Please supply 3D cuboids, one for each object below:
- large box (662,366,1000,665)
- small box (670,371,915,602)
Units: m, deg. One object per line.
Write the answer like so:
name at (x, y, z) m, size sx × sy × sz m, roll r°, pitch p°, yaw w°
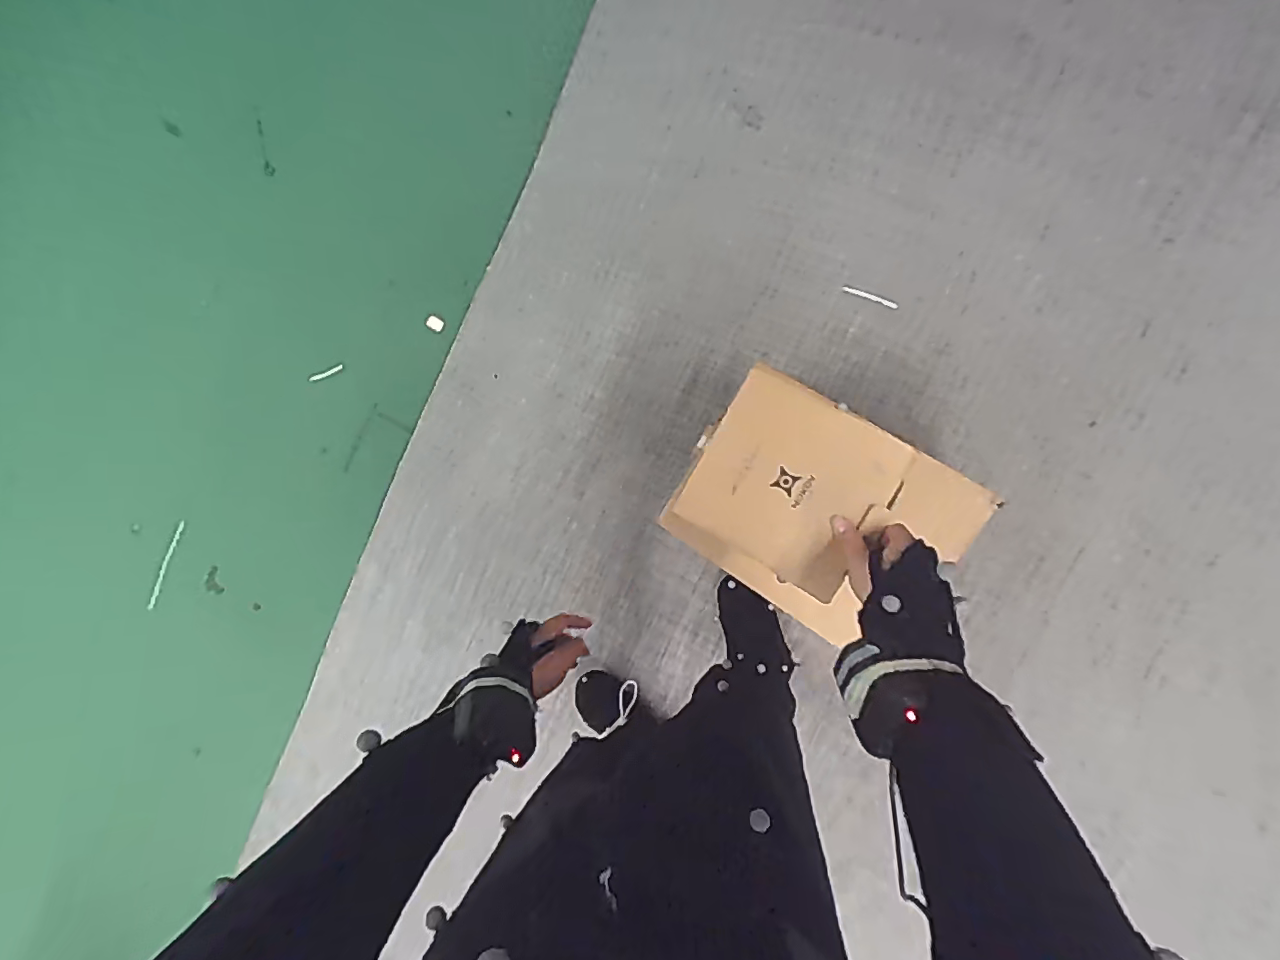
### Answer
large box at (0.312, 0.048, 0.970) m, size 0.408 × 0.320 × 0.320 m, roll 33°, pitch 99°, yaw 14°
small box at (0.162, 0.005, 0.592) m, size 0.179 × 0.176 × 0.168 m, roll 30°, pitch 96°, yaw 16°
